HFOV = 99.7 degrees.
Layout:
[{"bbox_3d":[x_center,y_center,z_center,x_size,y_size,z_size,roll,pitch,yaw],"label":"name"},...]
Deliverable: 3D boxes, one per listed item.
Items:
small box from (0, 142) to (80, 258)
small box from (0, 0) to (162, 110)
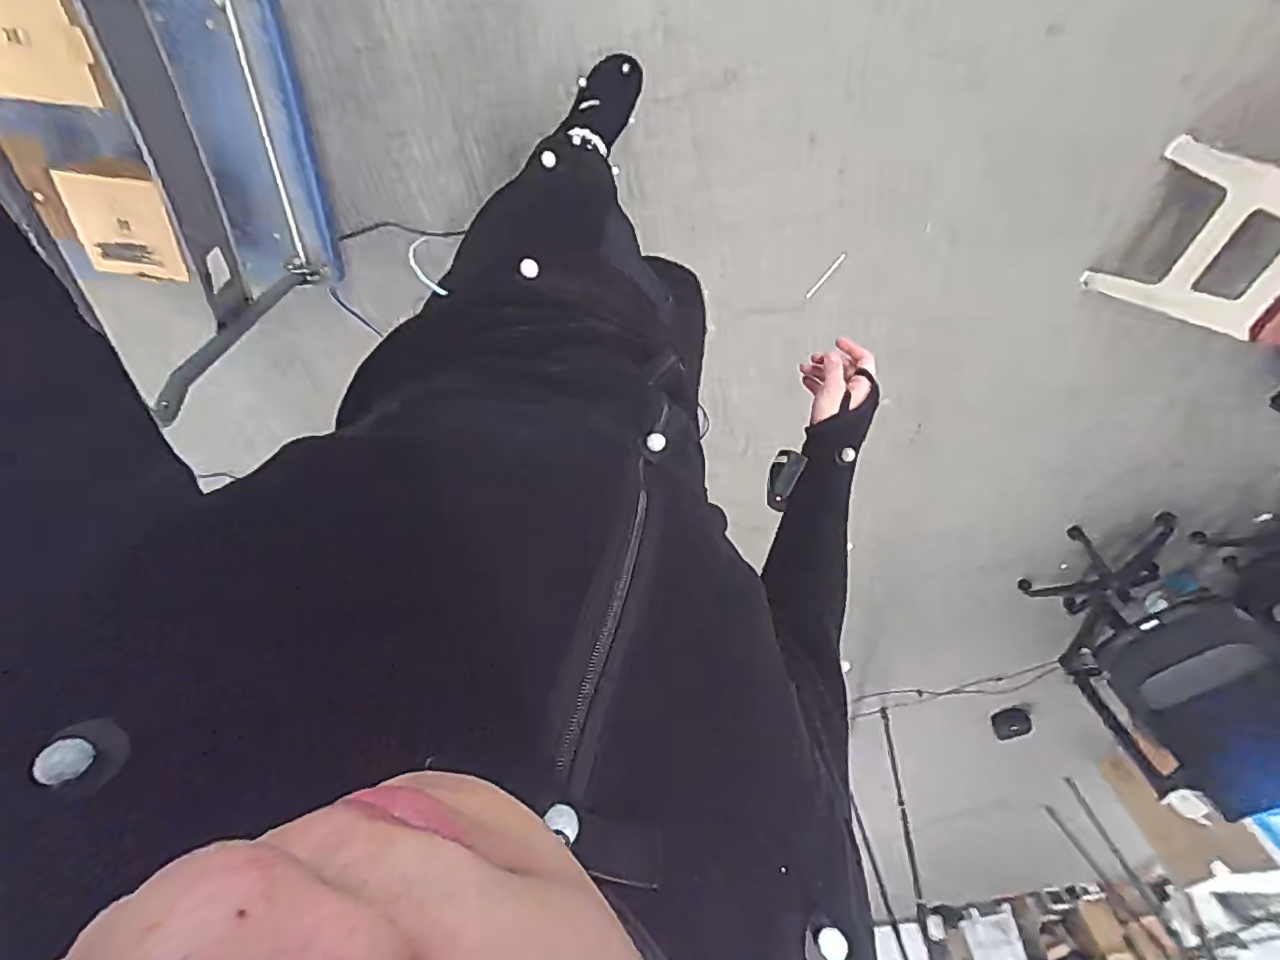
[{"bbox_3d":[-1.218,-0.523,1.005,0.179,0.176,0.168,-3,129,-4],"label":"small box"},{"bbox_3d":[-0.948,-0.717,0.878,0.179,0.176,0.168,0,130,-8],"label":"small box"}]
